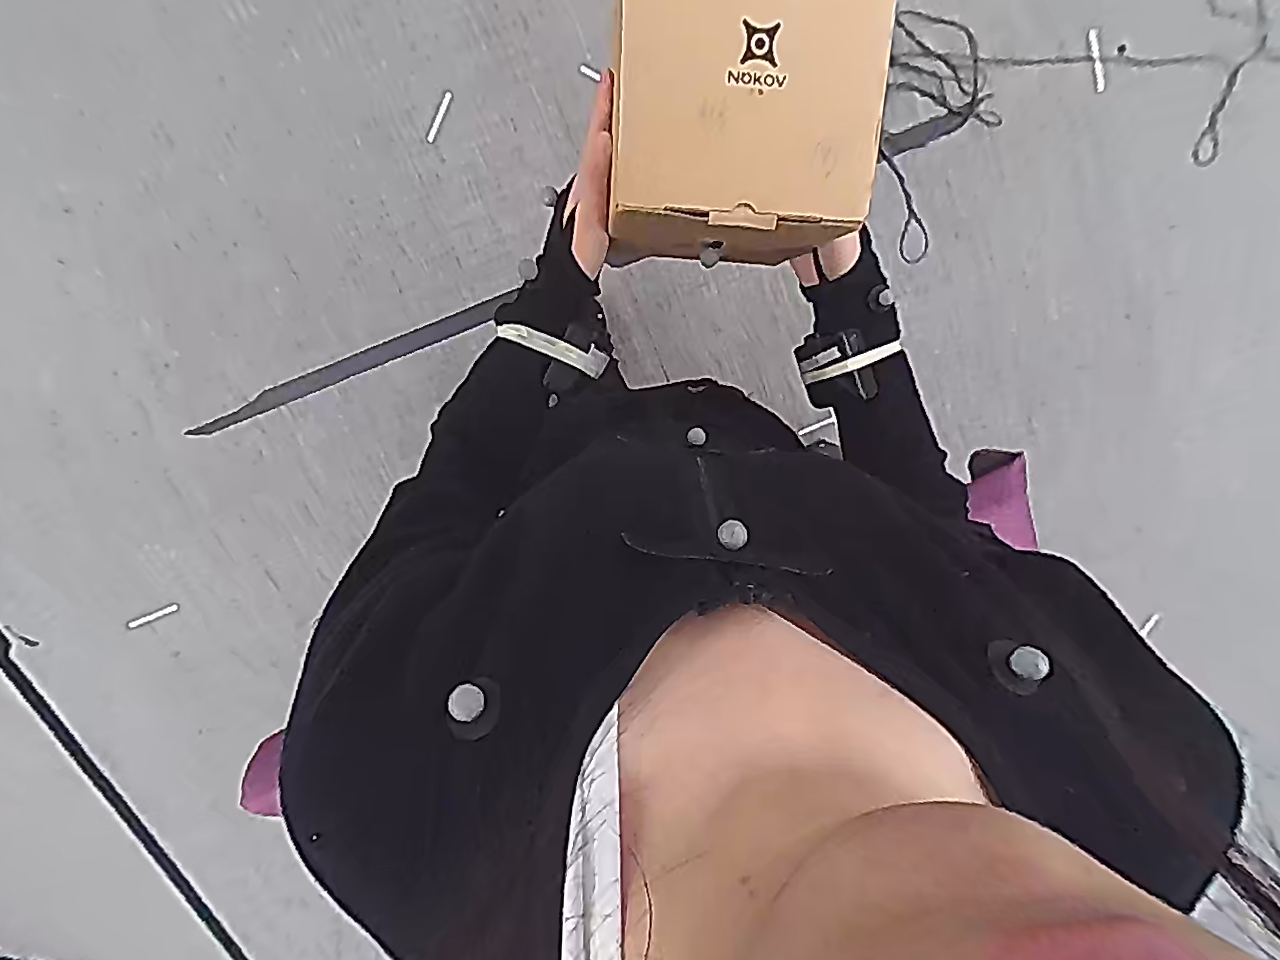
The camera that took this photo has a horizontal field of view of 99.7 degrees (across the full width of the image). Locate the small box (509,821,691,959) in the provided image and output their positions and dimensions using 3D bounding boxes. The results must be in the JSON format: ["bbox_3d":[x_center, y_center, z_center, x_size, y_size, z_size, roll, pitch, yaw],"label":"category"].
[{"bbox_3d":[-0.037,0.548,0.626,0.168,0.176,0.179,-19,102,1],"label":"small box"}]

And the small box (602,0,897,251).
[{"bbox_3d":[0.060,-0.274,0.397,0.168,0.176,0.179,1,104,-7],"label":"small box"}]
